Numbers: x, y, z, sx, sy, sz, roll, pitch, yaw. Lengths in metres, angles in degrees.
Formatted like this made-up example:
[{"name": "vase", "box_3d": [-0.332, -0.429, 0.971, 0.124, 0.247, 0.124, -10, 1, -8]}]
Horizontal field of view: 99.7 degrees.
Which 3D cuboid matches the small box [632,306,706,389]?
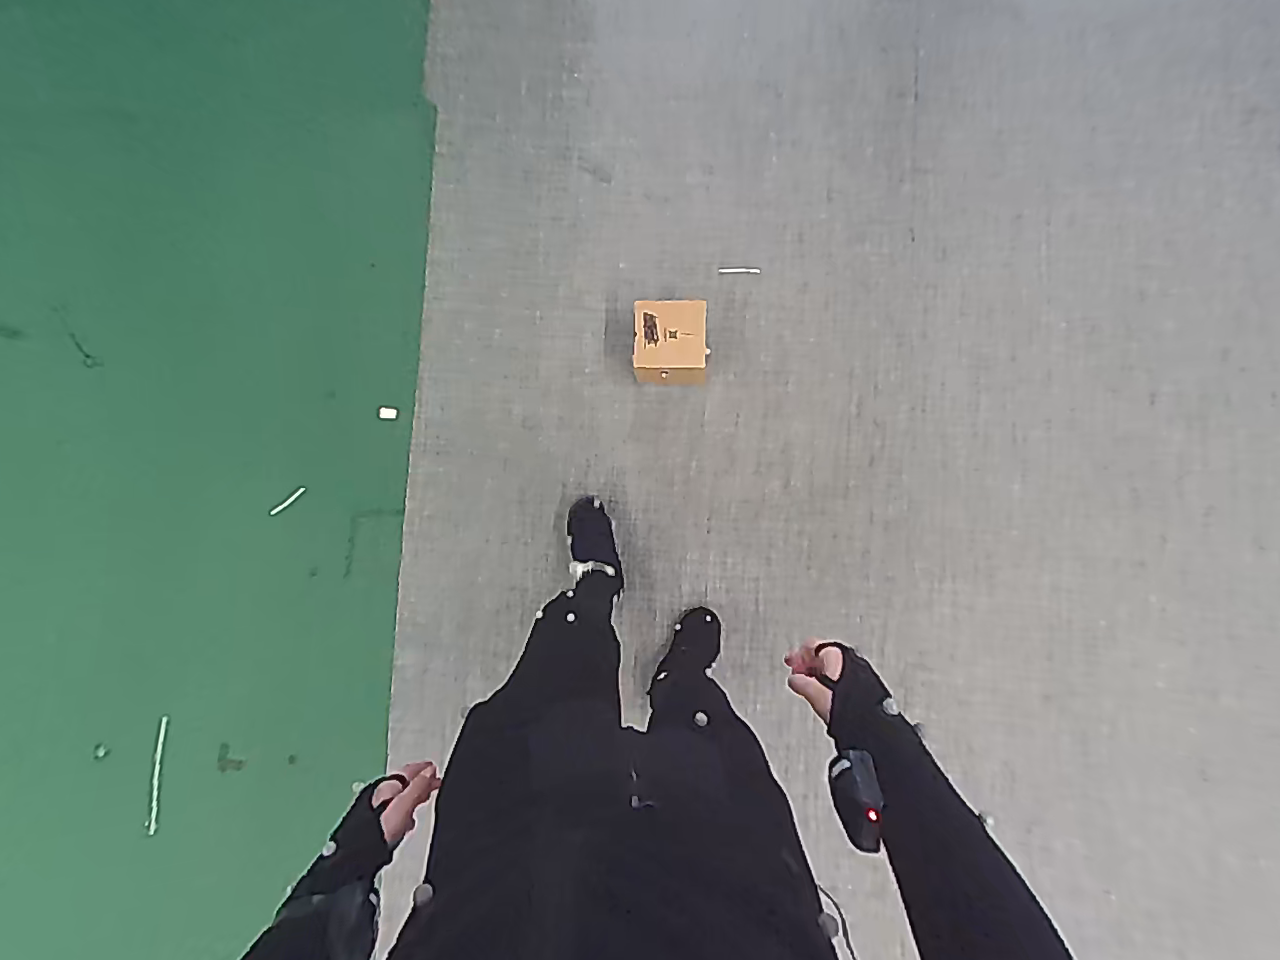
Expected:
[{"name": "small box", "box_3d": [0.075, -0.333, 1.384, 0.179, 0.176, 0.168, 2, 86, 3]}]
